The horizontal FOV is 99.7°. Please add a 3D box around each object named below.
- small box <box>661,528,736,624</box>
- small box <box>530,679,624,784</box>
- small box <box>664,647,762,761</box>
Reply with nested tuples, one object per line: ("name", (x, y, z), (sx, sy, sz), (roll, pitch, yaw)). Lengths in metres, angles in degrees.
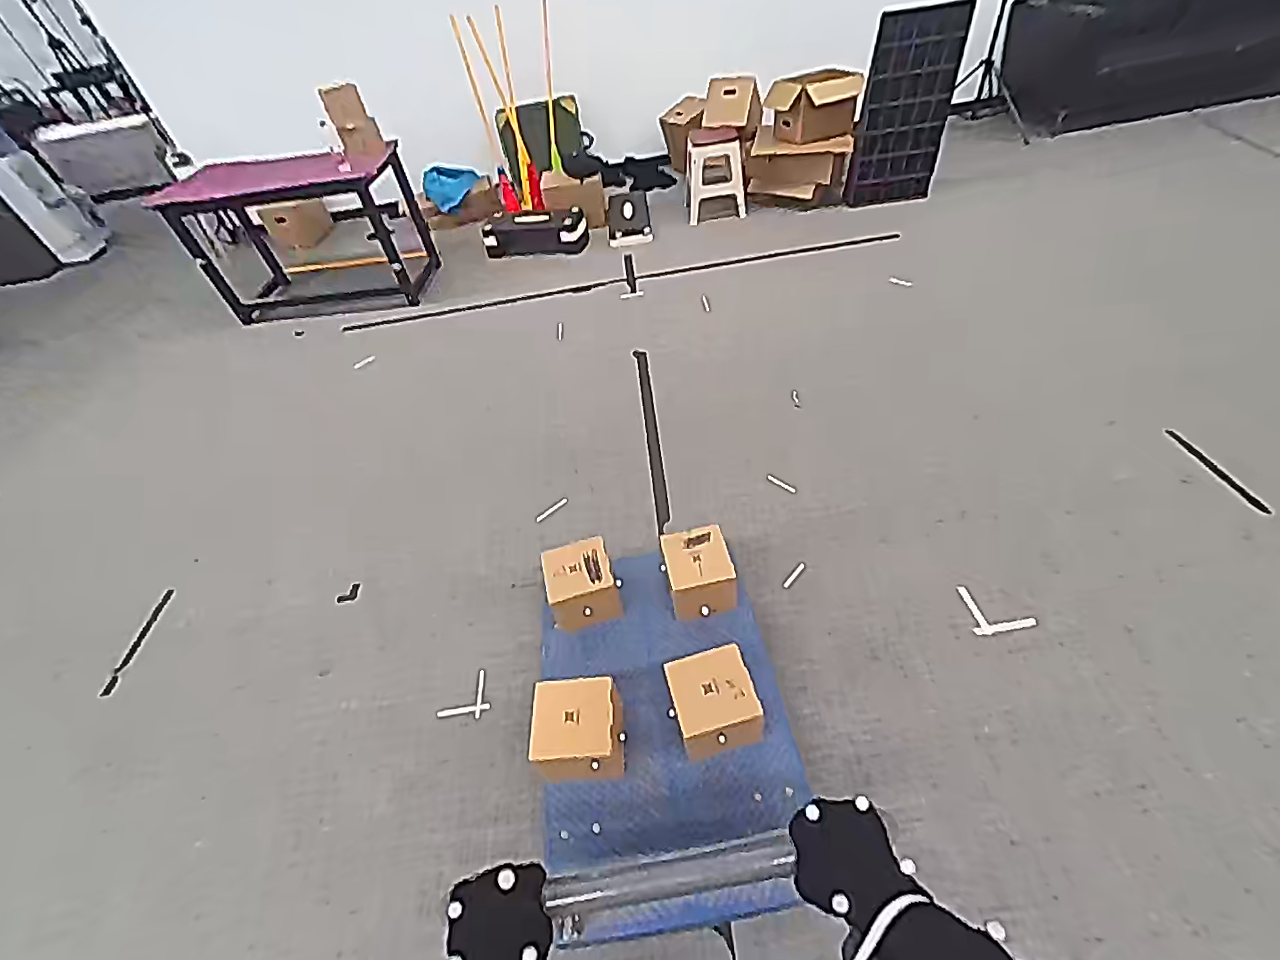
("small box", (0.156, 0.260, 1.463), (0.168, 0.176, 0.179), (-12, 47, -1))
("small box", (-0.135, 0.572, 1.223), (0.179, 0.176, 0.168), (-6, 46, 3))
("small box", (0.166, 0.511, 1.225), (0.179, 0.176, 0.168), (-15, 46, -4))
